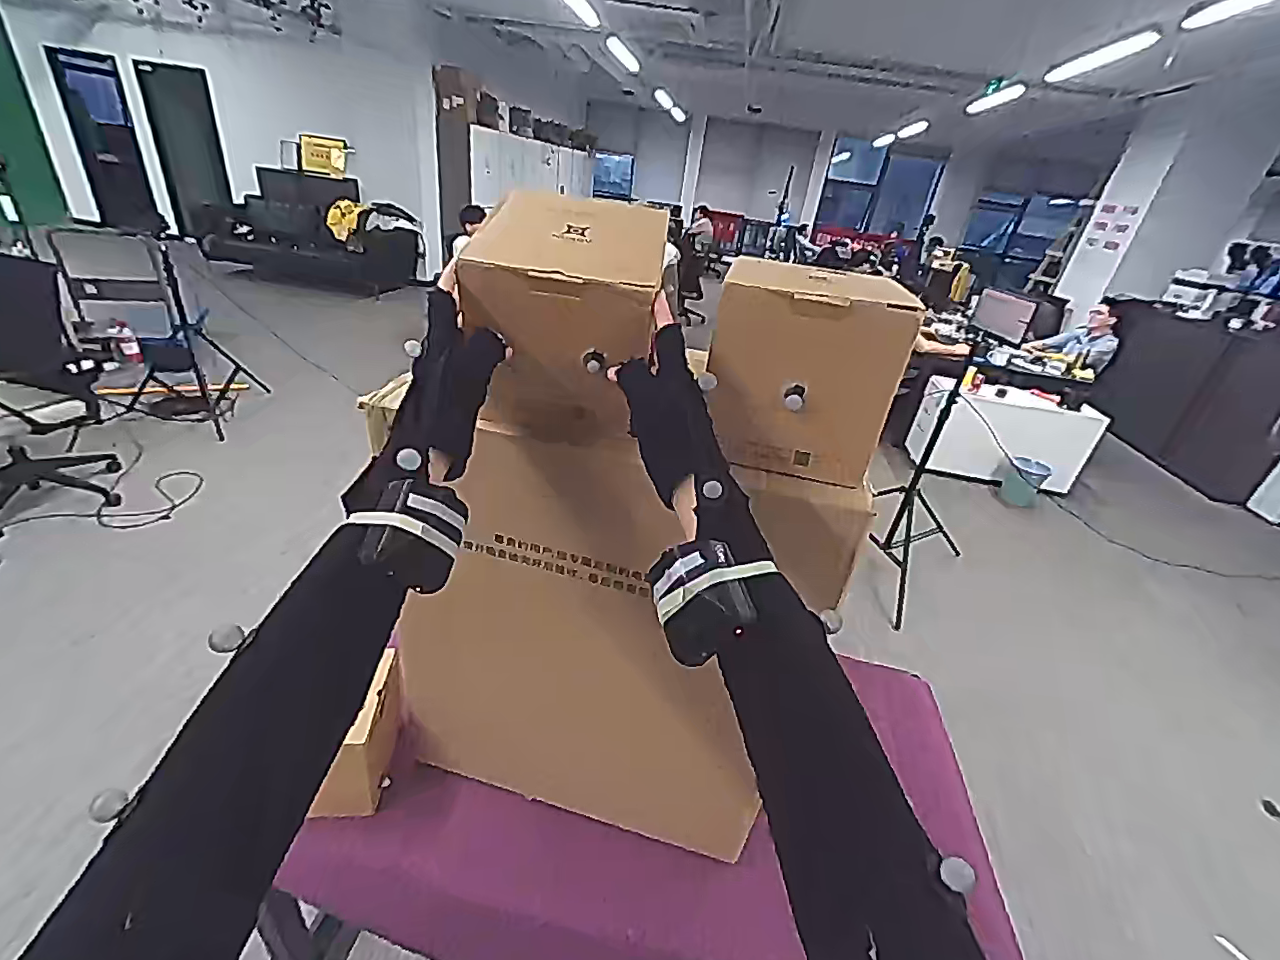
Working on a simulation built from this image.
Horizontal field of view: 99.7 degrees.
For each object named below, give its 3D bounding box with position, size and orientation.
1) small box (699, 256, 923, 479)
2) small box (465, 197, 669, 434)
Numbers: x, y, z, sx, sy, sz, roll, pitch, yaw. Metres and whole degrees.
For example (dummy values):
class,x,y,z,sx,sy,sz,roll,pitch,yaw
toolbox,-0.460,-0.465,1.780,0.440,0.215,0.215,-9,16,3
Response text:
class,x,y,z,sx,sy,sz,roll,pitch,yaw
small box,0.160,-0.120,0.556,0.168,0.176,0.179,13,31,8
small box,-0.065,-0.167,0.556,0.168,0.176,0.179,8,42,-2
